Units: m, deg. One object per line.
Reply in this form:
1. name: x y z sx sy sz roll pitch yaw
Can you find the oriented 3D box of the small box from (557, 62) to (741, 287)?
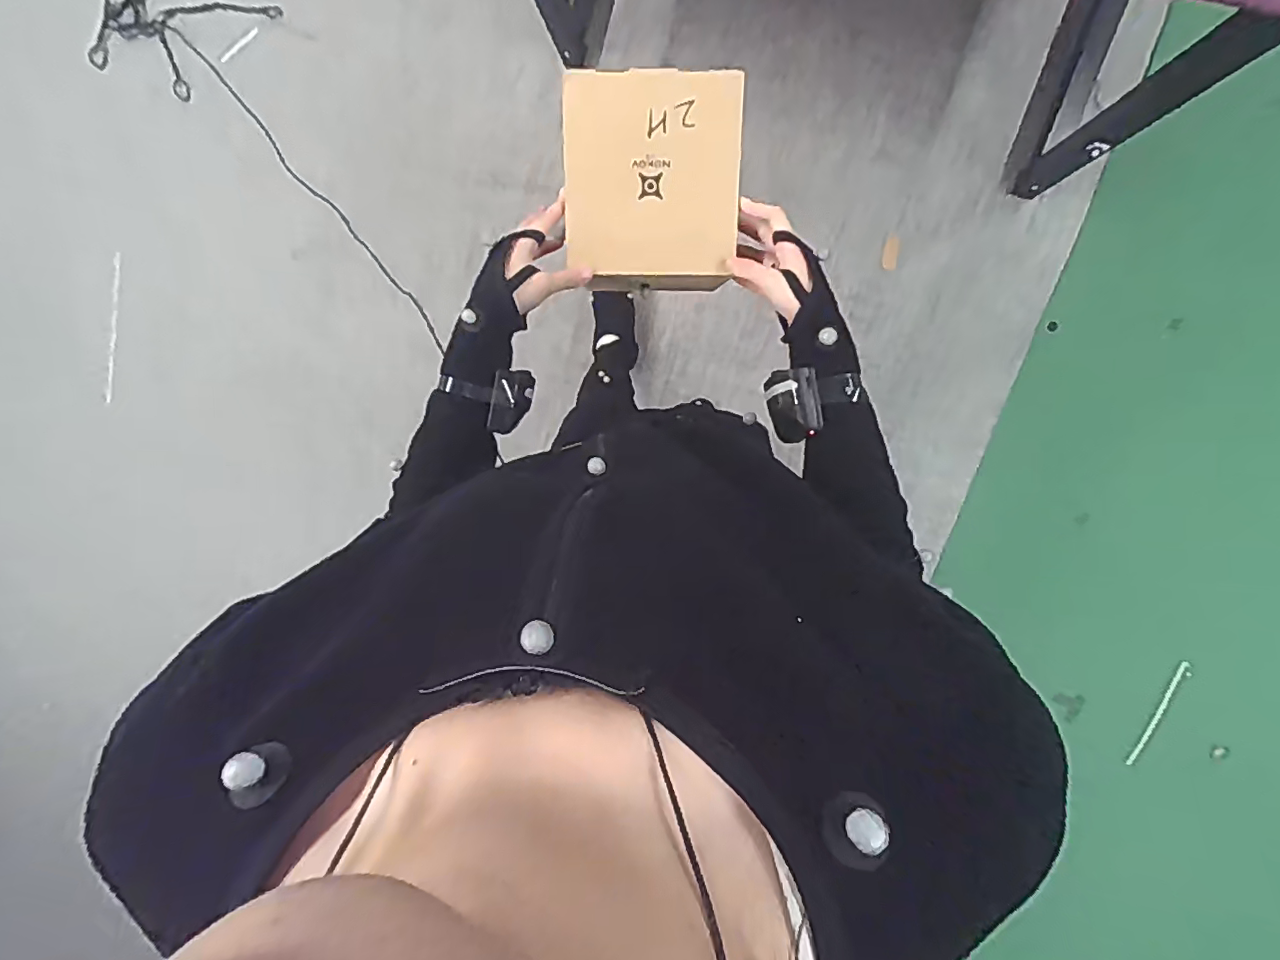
1. small box: 0.009 -0.303 0.574 0.168 0.176 0.179 1 104 1
